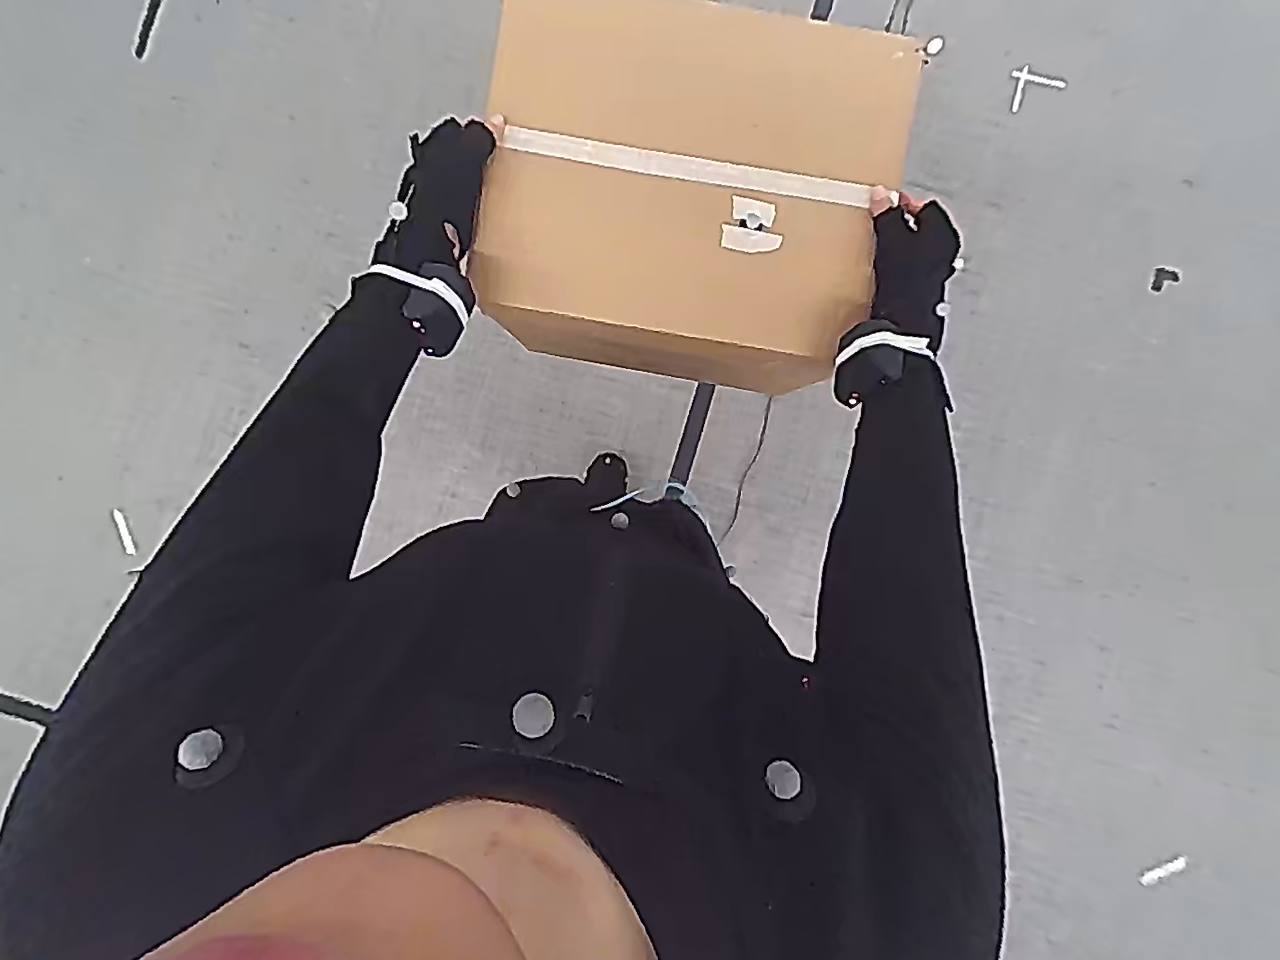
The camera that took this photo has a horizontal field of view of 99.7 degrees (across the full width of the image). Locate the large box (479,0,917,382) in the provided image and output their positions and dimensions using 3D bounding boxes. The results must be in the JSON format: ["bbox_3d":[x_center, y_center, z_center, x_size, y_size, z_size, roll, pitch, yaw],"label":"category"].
[{"bbox_3d":[0.052,-0.321,0.684,0.408,0.320,0.320,10,94,-1],"label":"large box"}]
